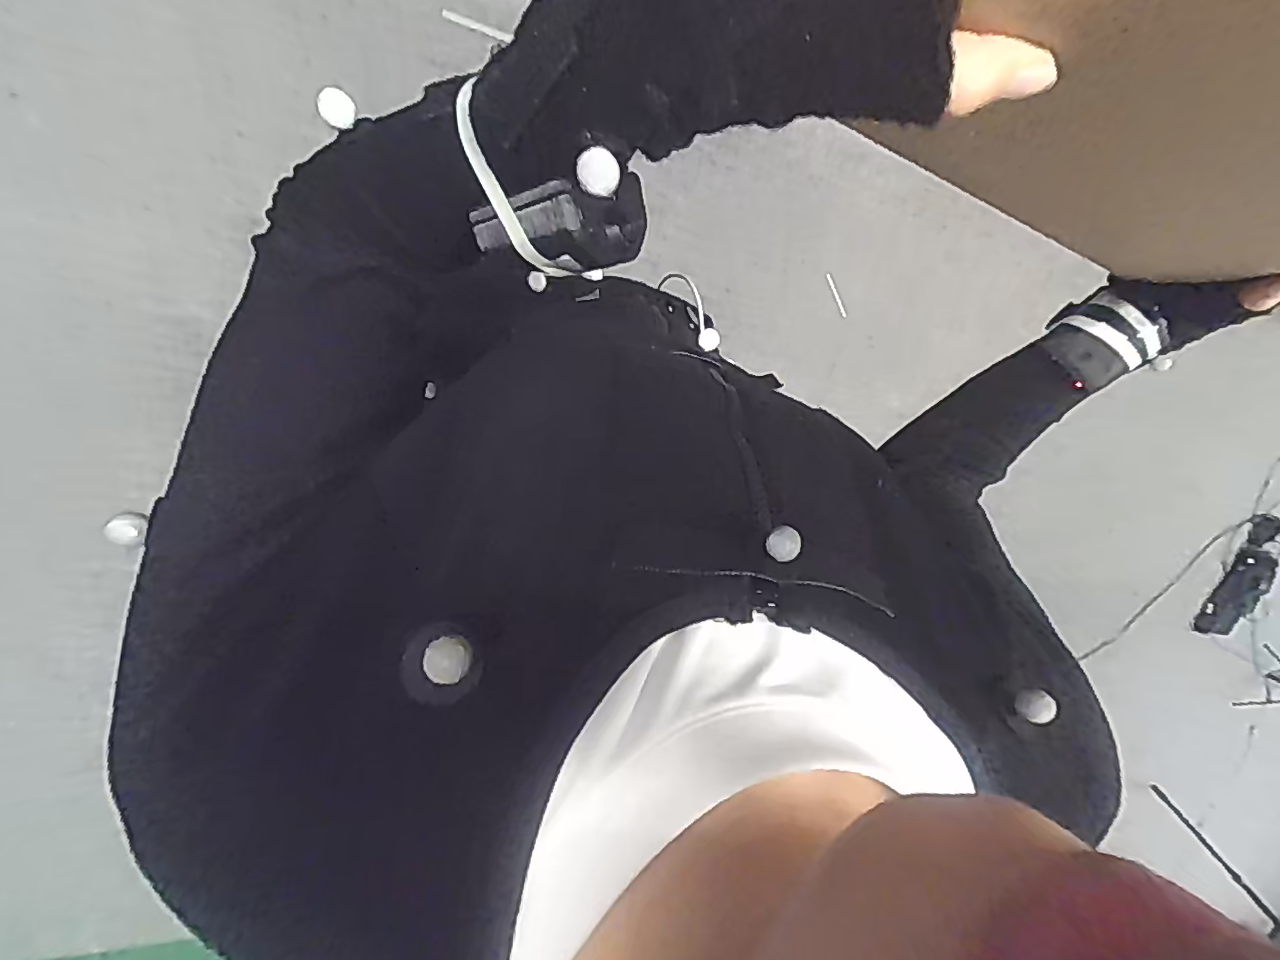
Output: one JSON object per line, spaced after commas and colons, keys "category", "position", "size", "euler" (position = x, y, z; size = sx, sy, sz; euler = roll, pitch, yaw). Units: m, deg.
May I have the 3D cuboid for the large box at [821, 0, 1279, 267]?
{"category": "large box", "position": [0.321, -0.262, 0.157], "size": [0.408, 0.320, 0.320], "euler": [-2, 108, -35]}
